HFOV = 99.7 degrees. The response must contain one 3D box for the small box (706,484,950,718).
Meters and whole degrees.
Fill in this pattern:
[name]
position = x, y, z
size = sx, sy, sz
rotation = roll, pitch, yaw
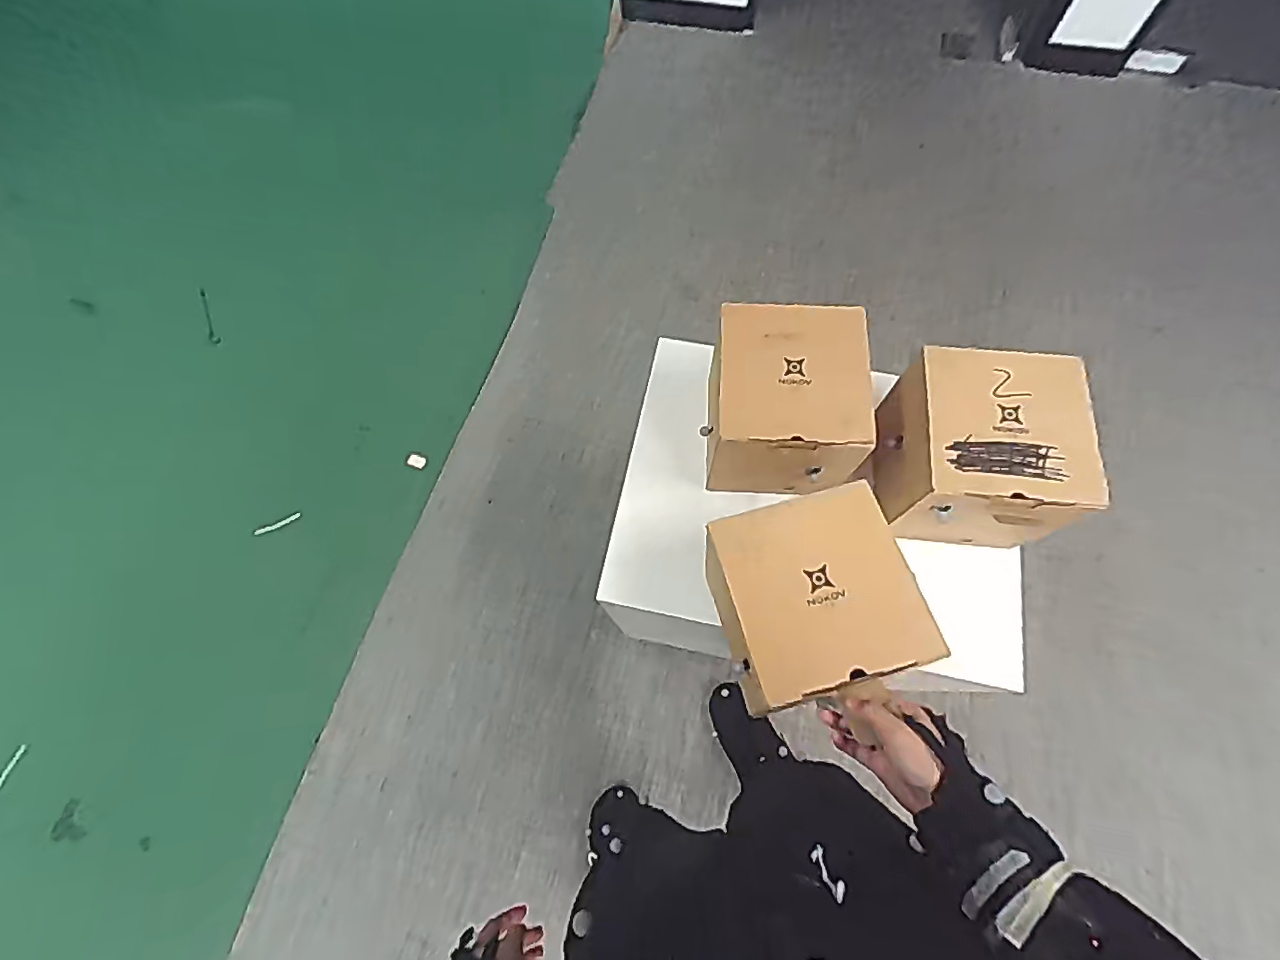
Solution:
[small box]
position = 0.170, 0.133, 0.561
size = 0.168, 0.176, 0.179
rotation = -15, 64, -2
